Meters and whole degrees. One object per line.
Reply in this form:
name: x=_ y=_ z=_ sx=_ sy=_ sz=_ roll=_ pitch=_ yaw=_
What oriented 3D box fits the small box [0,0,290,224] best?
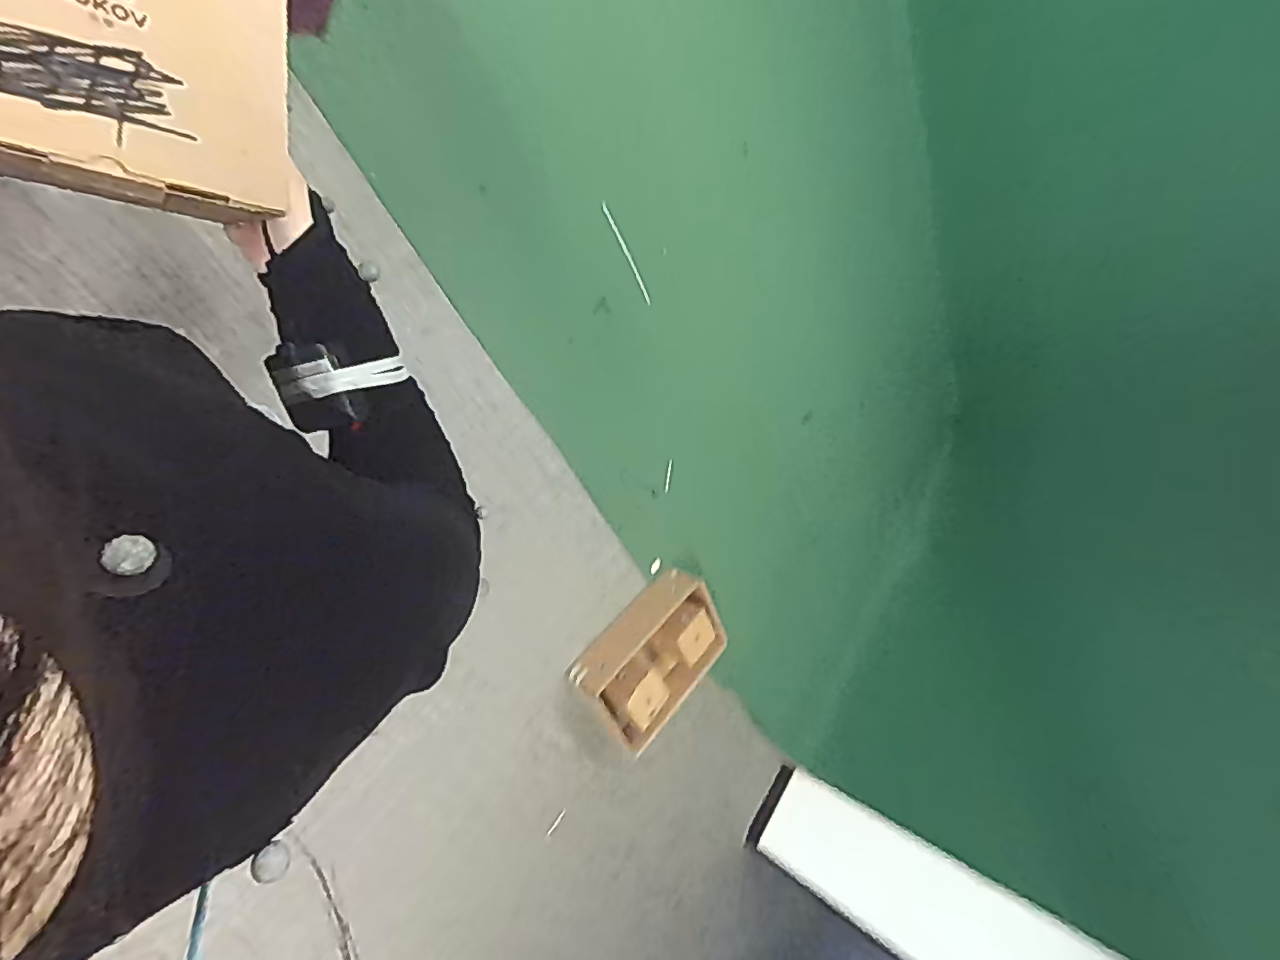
small box: x=-0.322 y=-0.262 z=0.315 sx=0.168 sy=0.176 sz=0.179 roll=-5 pitch=109 yaw=-47

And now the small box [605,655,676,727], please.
small box: x=-0.001 y=0.787 z=2.042 sx=0.168 sy=0.176 sz=0.179 roll=-45 pitch=124 yaw=-26
